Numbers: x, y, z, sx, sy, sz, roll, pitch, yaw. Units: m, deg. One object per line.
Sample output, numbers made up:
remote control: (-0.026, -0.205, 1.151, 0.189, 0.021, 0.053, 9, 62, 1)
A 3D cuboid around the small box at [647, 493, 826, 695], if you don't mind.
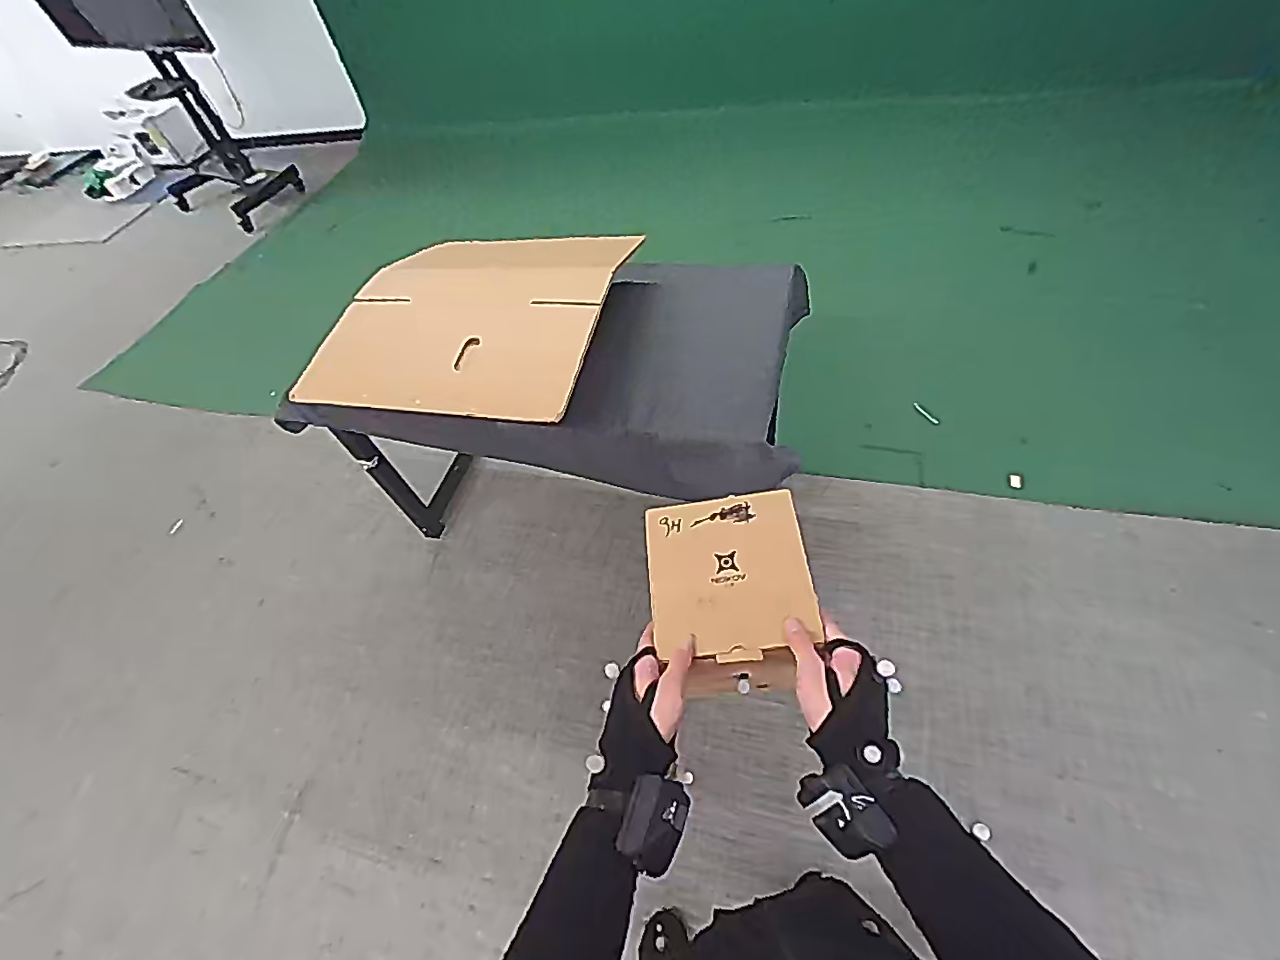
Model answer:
small box: (0.111, 0.143, 0.636, 0.168, 0.176, 0.179, -11, 55, 7)
